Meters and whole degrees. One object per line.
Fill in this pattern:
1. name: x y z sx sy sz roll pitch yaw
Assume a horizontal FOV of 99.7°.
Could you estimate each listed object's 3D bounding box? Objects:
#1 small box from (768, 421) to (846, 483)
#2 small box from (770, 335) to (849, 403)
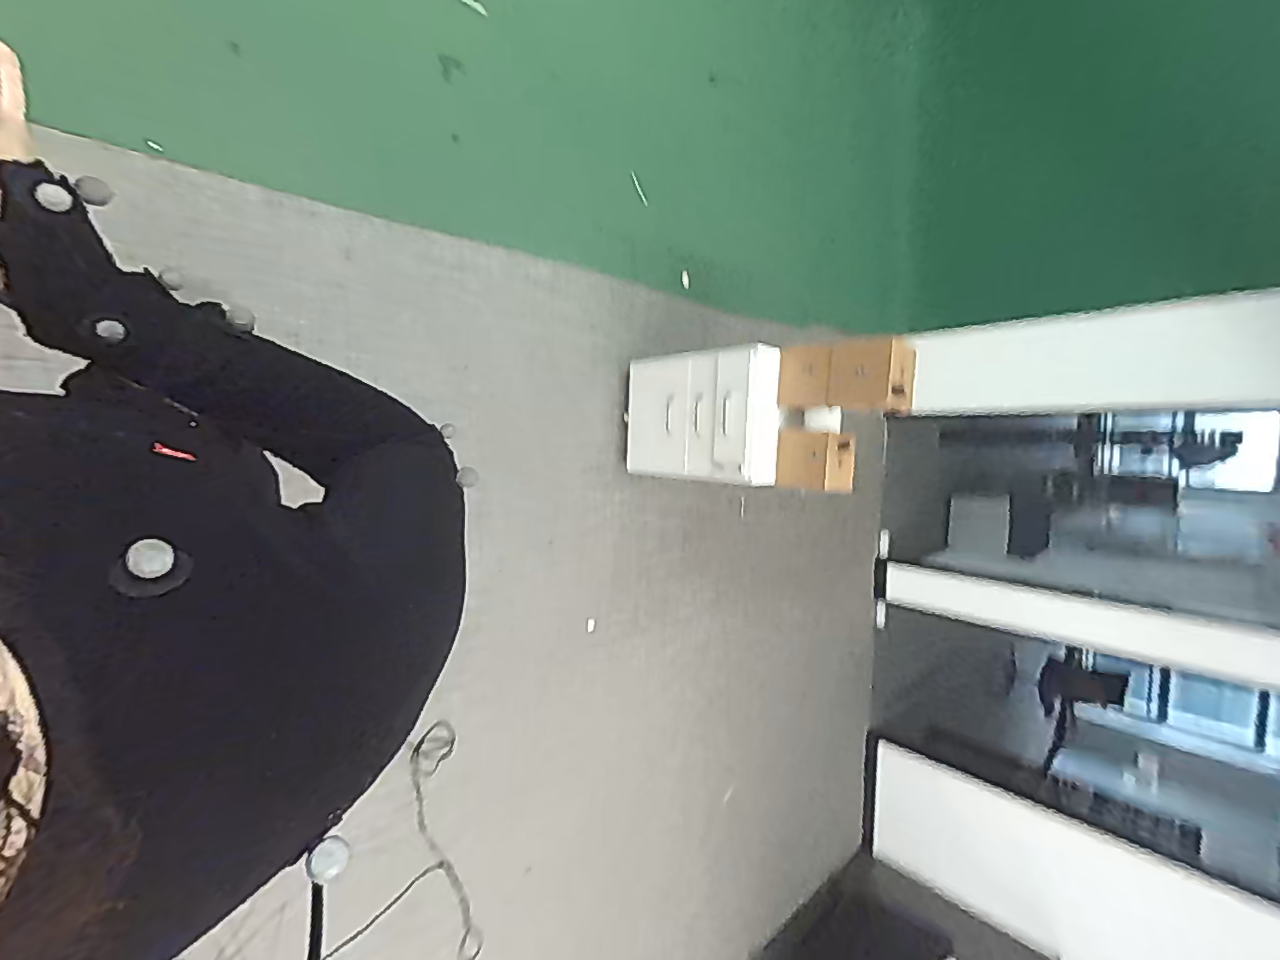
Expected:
1. small box: 0.508 -0.084 1.653 0.168 0.176 0.179 1 93 -43
2. small box: 0.508 -0.327 1.627 0.168 0.176 0.179 -1 96 -43
